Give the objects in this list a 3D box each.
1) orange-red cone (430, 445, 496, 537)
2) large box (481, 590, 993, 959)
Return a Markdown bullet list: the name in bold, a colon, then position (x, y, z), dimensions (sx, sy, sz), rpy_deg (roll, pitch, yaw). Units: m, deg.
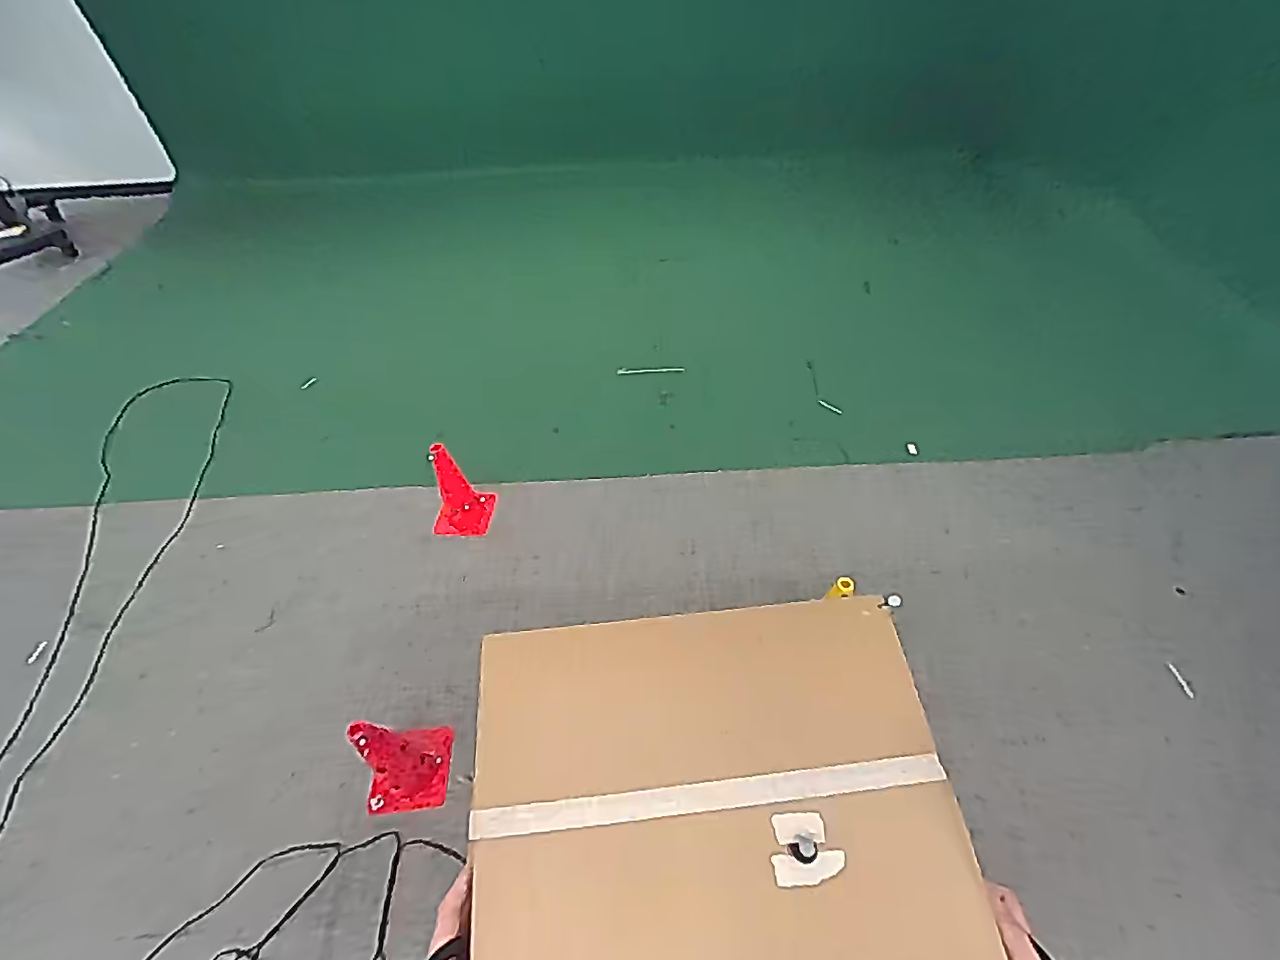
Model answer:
- **orange-red cone**: position (-0.659, 0.016, 1.886), dimensions (0.199, 0.360, 0.198), rpy_deg (2, 48, 6)
- **large box**: position (0.060, 0.342, 0.606), dimensions (0.408, 0.320, 0.320), rpy_deg (-5, 61, -3)
